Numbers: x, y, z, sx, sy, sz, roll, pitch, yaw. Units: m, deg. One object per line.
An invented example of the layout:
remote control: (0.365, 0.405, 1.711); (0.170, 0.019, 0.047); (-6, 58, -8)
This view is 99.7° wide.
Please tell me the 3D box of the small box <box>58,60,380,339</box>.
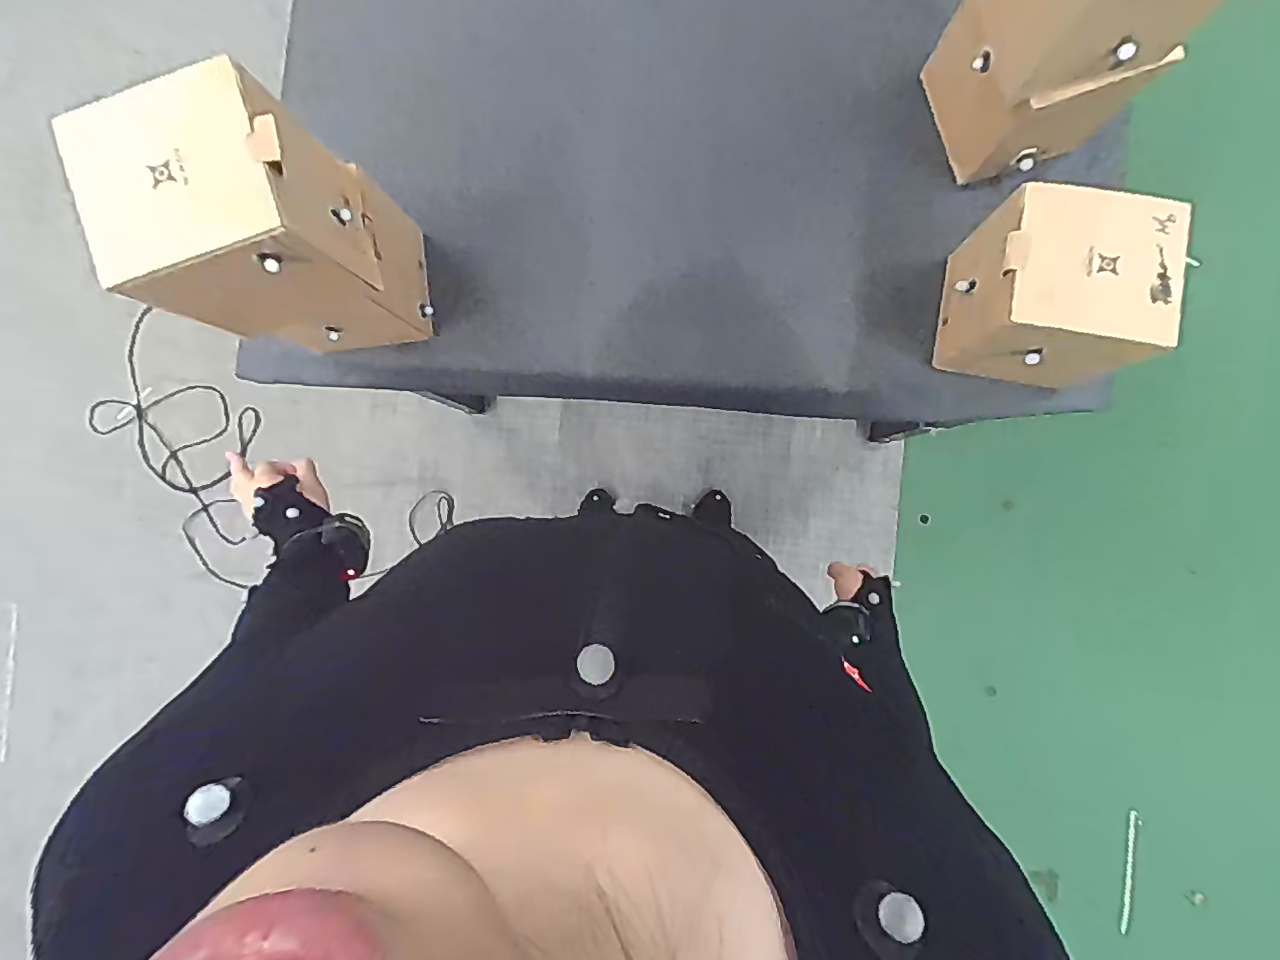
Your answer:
small box: (-0.409, -0.264, 0.555); (0.179, 0.176, 0.168); (-19, 88, 2)

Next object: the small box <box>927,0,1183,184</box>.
small box: (0.488, -0.512, 0.668); (0.168, 0.176, 0.179); (-18, 89, 6)

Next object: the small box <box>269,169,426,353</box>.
small box: (-0.401, -0.276, 0.717); (0.179, 0.176, 0.168); (-7, 89, 4)

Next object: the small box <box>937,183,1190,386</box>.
small box: (0.492, -0.223, 0.656); (0.179, 0.176, 0.168); (10, 85, 5)

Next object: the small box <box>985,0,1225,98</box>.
small box: (0.453, -0.516, 0.505); (0.168, 0.176, 0.179); (-14, 88, 7)
